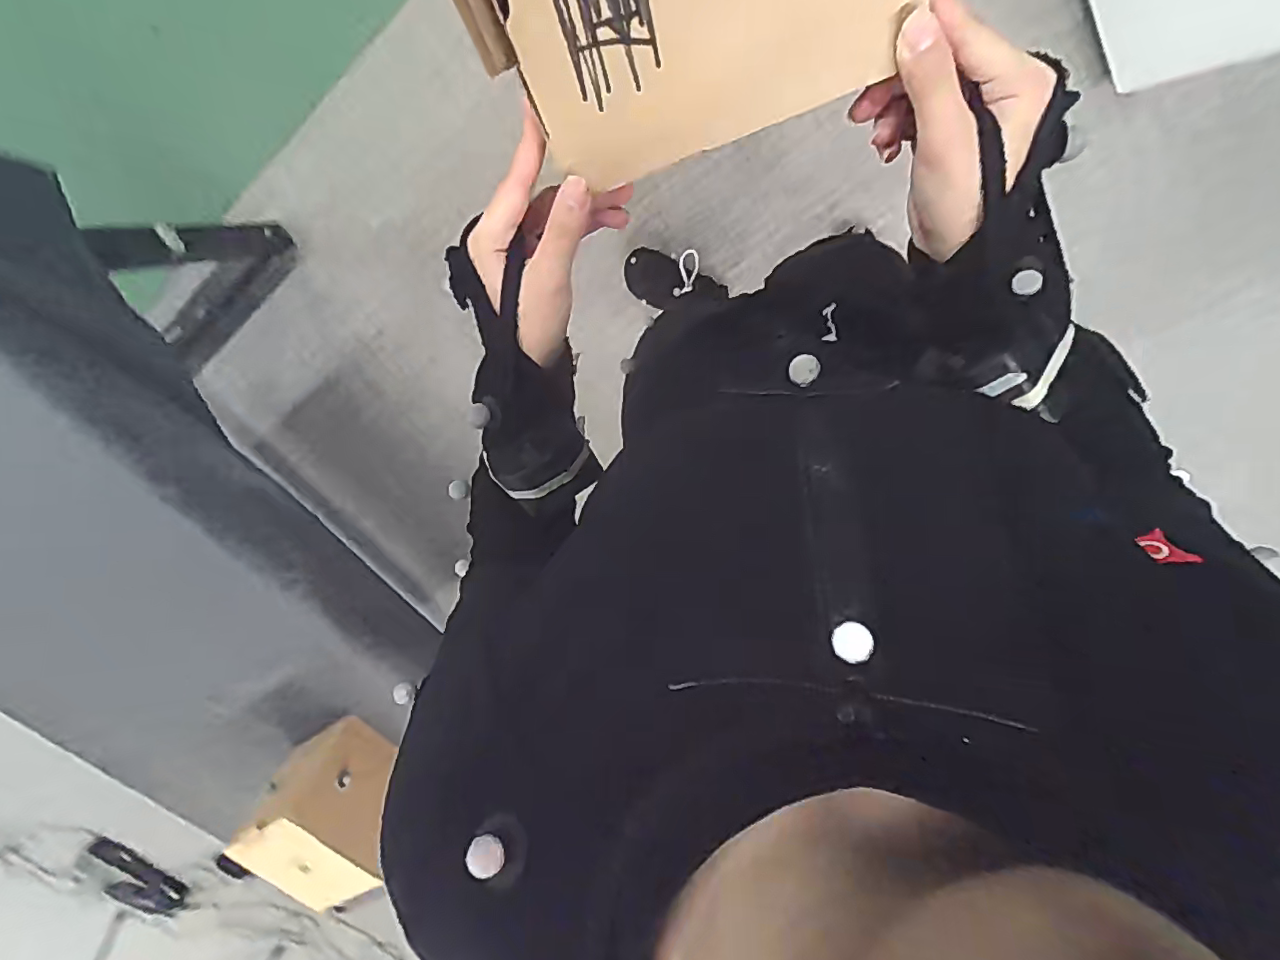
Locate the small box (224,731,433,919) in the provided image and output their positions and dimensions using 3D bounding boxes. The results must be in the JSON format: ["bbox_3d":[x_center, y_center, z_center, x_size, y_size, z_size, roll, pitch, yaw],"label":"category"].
[{"bbox_3d":[-0.459,0.513,0.824,0.168,0.176,0.179,-35,109,20],"label":"small box"}]
